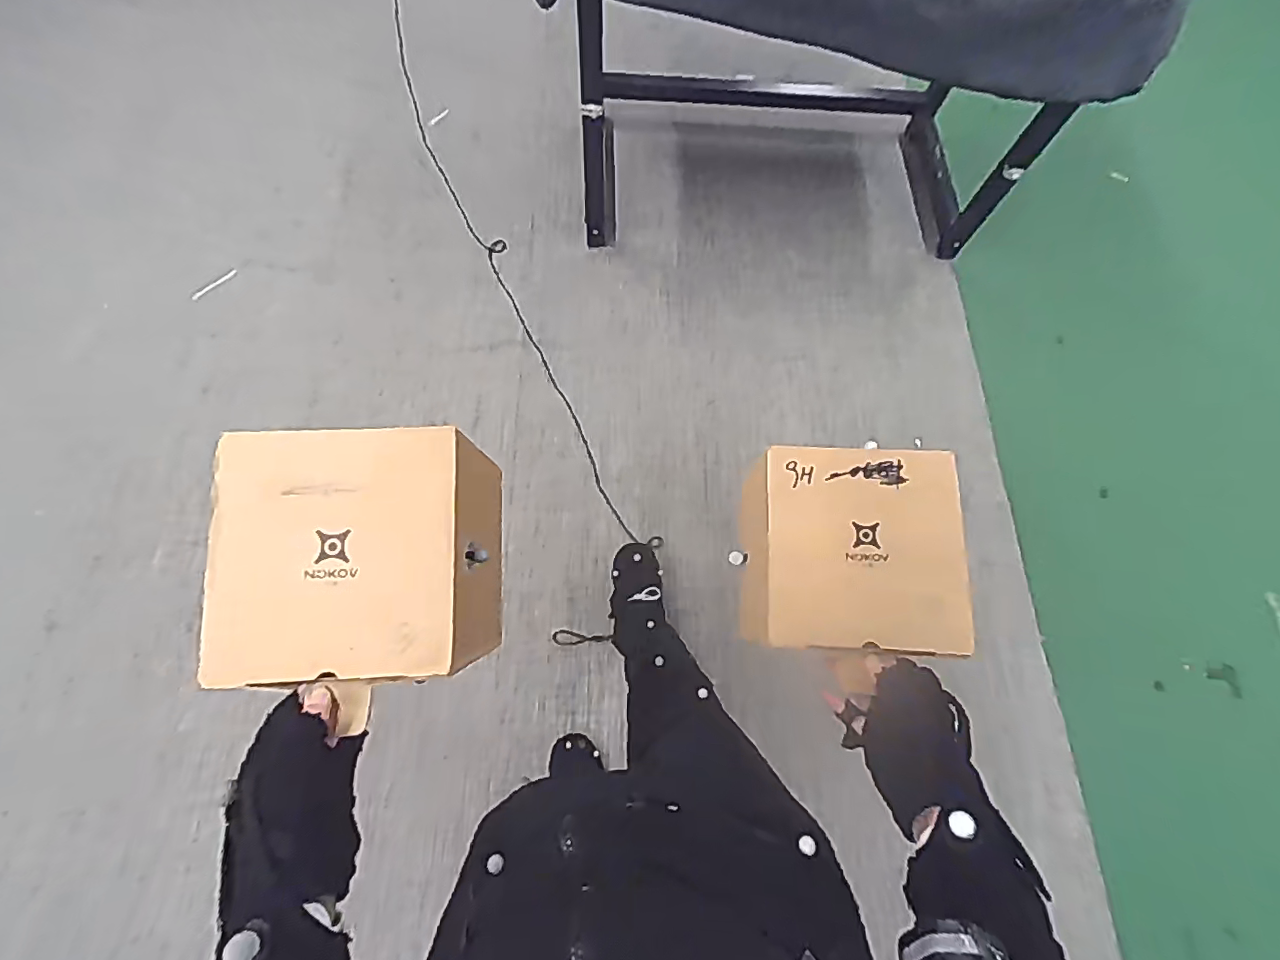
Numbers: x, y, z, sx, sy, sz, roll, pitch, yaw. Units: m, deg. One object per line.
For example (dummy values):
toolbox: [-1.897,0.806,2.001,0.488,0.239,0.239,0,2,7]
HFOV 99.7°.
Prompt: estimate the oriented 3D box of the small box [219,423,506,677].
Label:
small box: [-0.210,0.058,0.459,0.168,0.176,0.179,-2,80,-4]

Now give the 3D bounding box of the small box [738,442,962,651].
small box: [0.194,0.071,0.548,0.168,0.176,0.179,2,76,3]
